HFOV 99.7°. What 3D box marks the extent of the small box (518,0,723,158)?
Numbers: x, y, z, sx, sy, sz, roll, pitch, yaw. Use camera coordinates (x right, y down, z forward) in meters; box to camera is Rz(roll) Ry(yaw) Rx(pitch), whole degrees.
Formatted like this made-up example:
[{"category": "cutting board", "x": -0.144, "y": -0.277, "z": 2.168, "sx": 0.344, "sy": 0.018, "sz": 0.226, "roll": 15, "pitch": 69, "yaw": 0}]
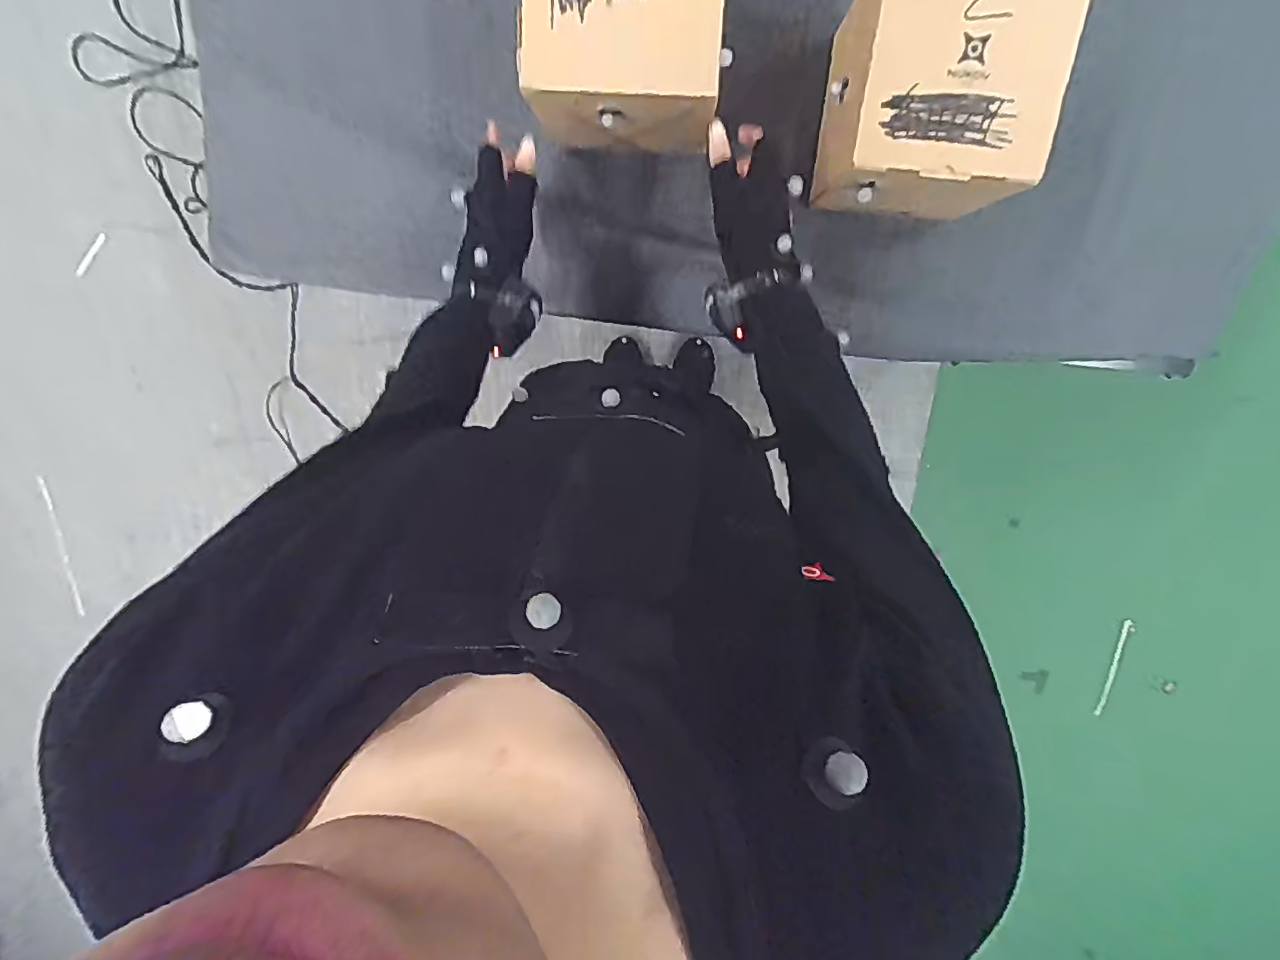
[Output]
[{"category": "small box", "x": -0.012, "y": -0.434, "z": 0.530, "sx": 0.179, "sy": 0.176, "sz": 0.168, "roll": 4, "pitch": 106, "yaw": 2}]
